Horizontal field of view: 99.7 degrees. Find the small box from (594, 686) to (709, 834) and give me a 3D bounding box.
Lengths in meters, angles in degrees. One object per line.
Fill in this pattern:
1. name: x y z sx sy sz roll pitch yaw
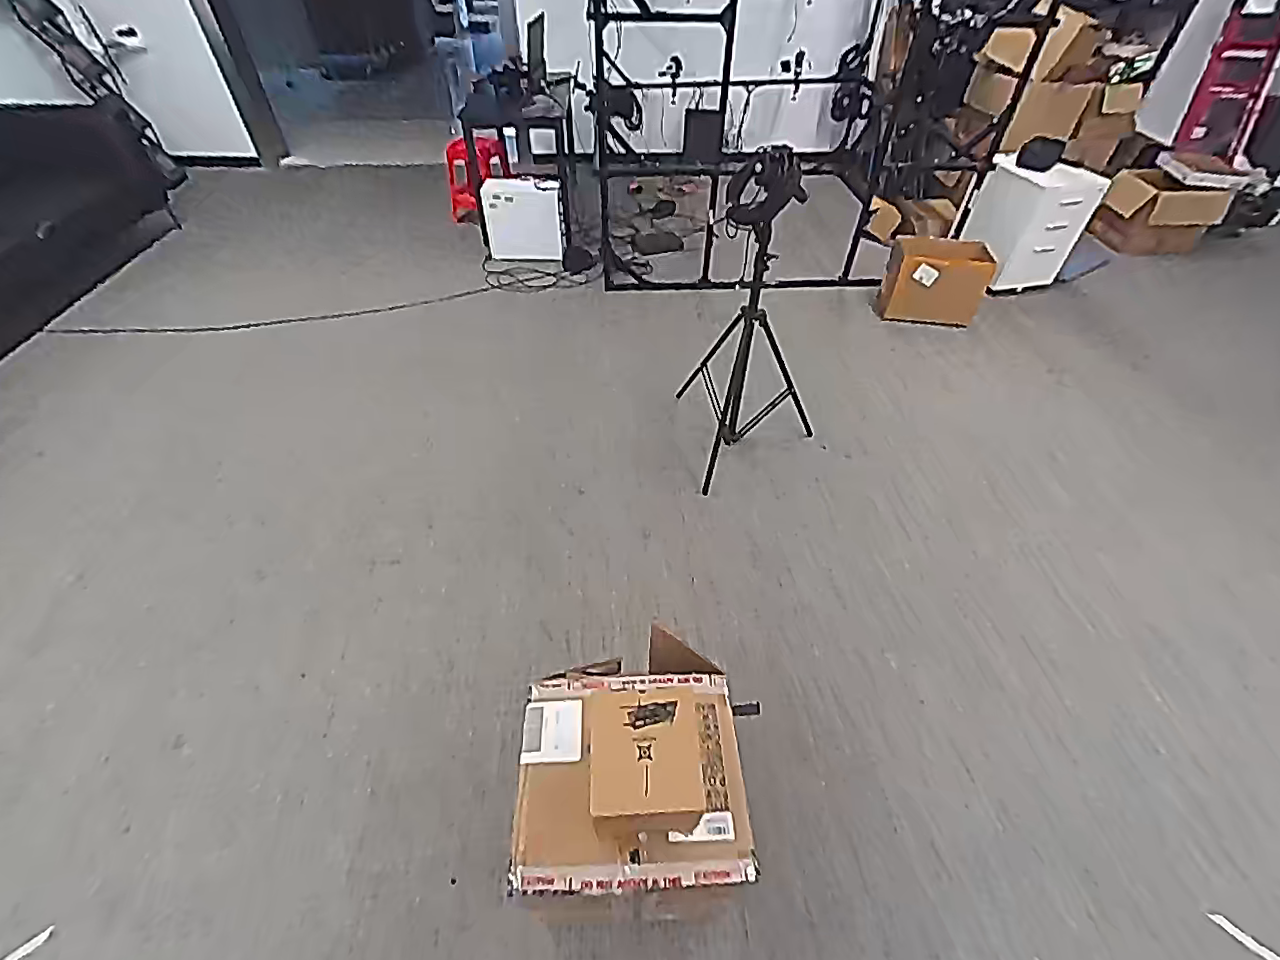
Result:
1. small box: 0.011 0.451 0.871 0.168 0.176 0.179 -2 49 -2
